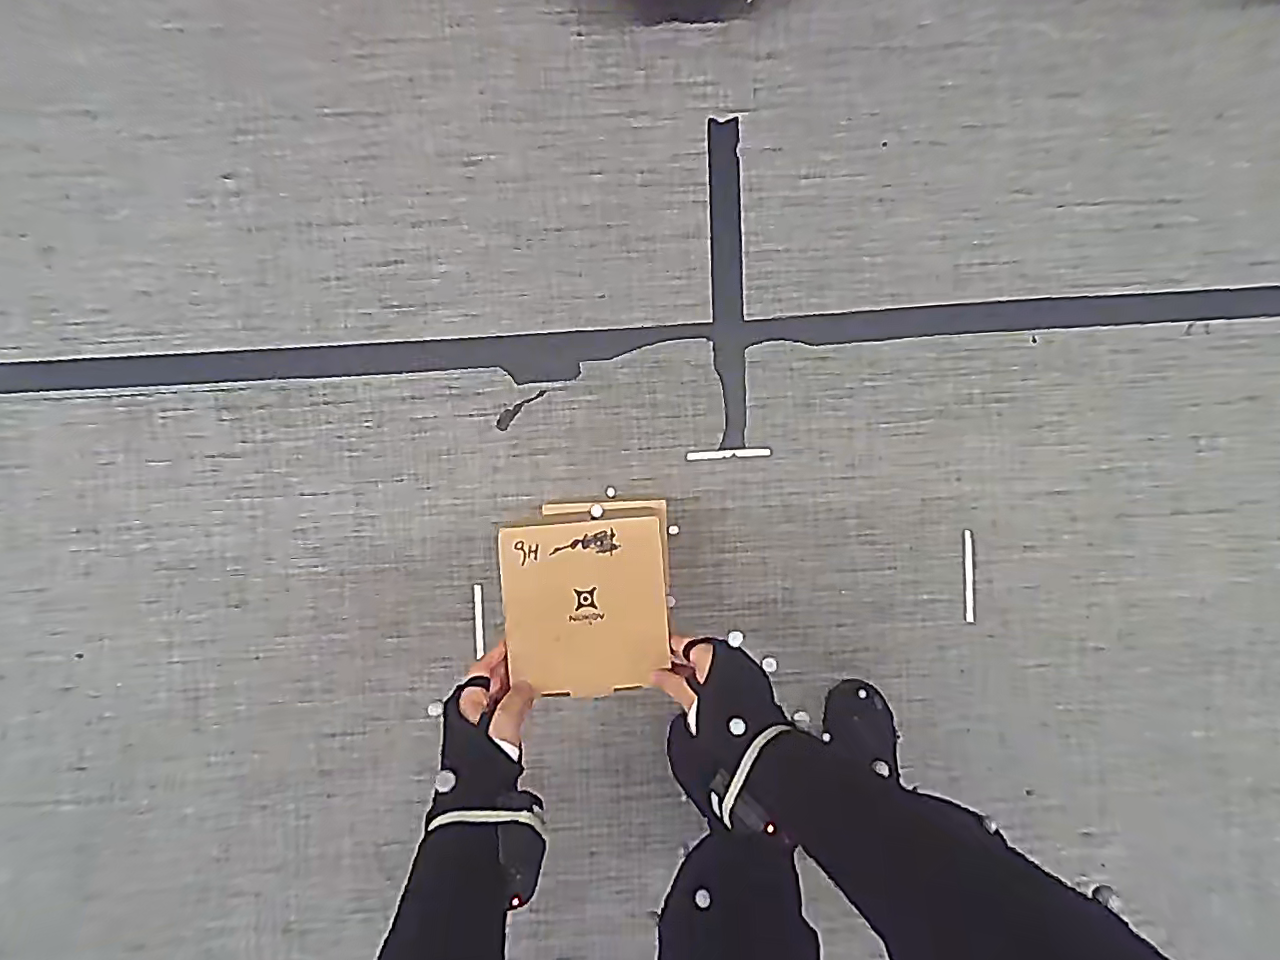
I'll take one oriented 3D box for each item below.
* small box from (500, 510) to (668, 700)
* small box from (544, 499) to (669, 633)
[{"bbox_3d":[-0.056,0.132,0.627,0.168,0.176,0.179,-4,91,0],"label":"small box"},{"bbox_3d":[-0.046,0.117,0.792,0.168,0.176,0.179,-2,91,0],"label":"small box"}]
